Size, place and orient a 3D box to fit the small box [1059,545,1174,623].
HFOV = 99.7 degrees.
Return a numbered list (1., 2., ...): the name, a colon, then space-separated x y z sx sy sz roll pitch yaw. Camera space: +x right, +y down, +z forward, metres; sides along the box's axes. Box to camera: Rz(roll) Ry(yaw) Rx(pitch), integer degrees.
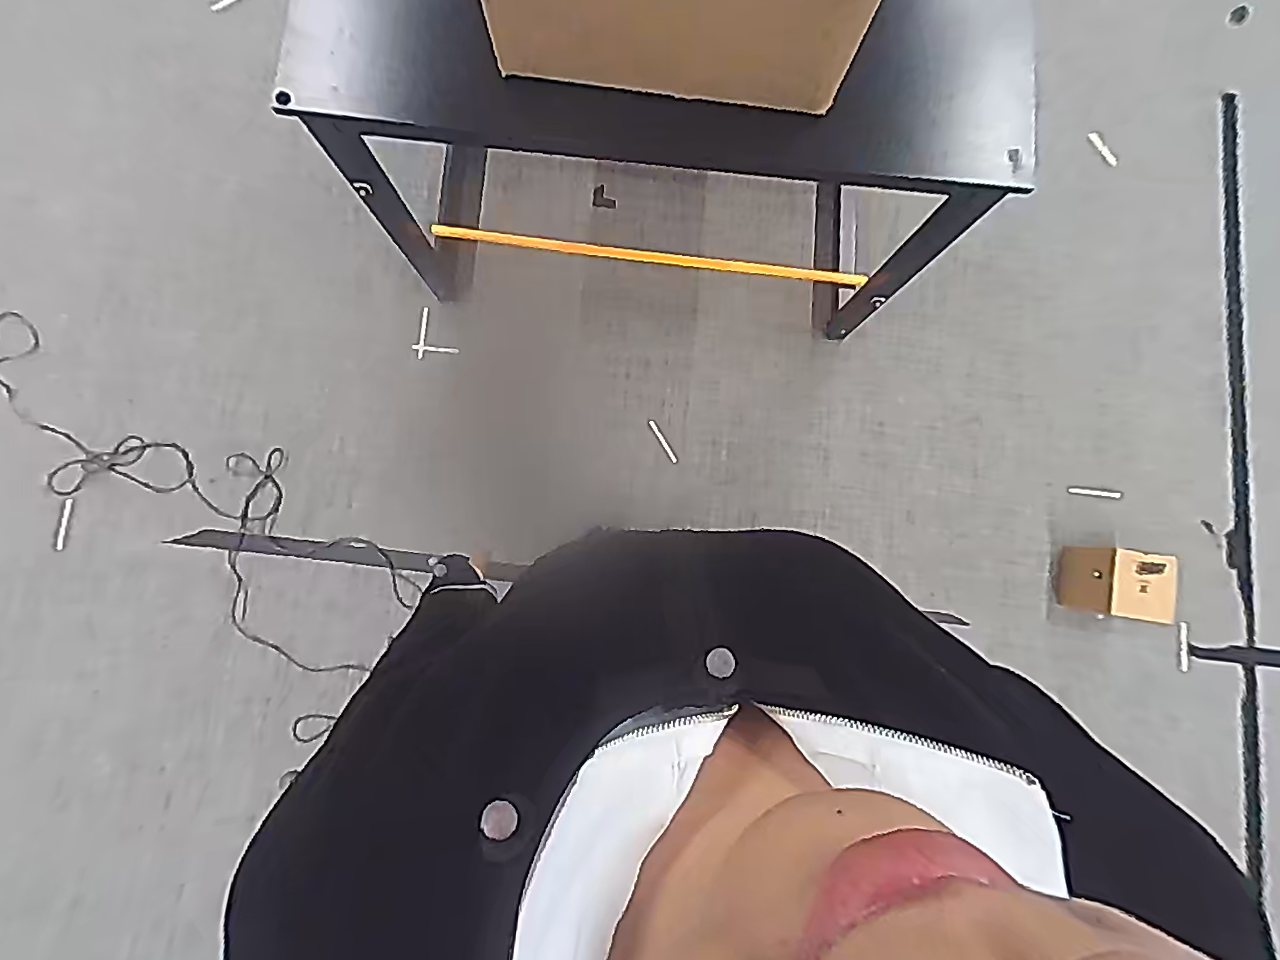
1. small box: 1.289 0.275 1.471 0.168 0.176 0.179 9 85 -1
